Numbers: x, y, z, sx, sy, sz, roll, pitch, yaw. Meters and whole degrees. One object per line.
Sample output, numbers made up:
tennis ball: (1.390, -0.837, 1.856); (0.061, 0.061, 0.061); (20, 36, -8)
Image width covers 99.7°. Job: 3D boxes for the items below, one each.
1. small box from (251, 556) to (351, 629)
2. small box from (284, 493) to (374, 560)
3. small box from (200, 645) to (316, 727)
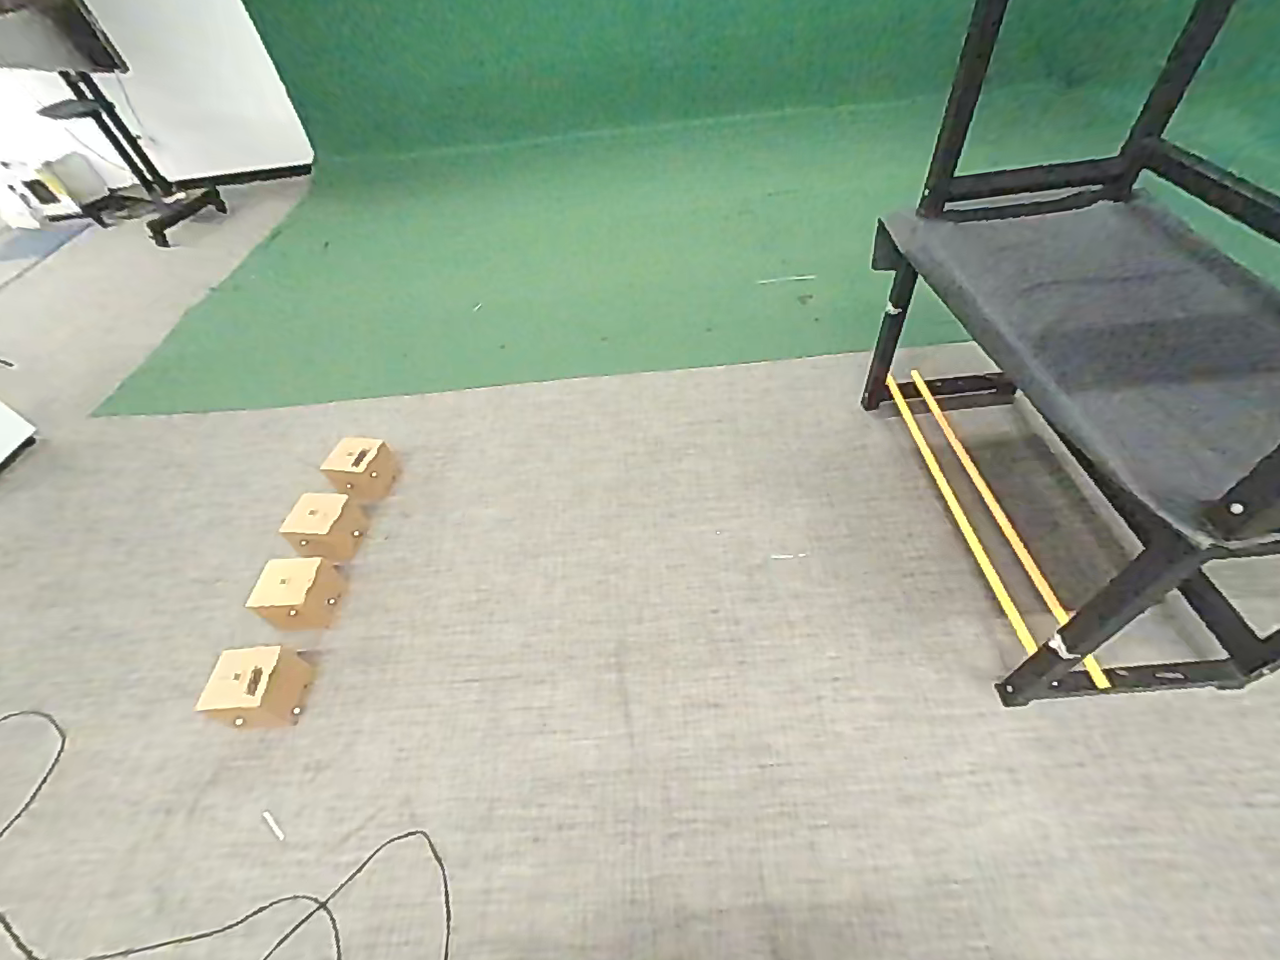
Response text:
small box: (-1.051, 0.356, 1.693); (0.179, 0.176, 0.168); (-4, 49, 3)
small box: (-1.063, 0.163, 1.862); (0.179, 0.176, 0.168); (3, 50, 8)
small box: (-1.044, 0.572, 1.499); (0.179, 0.176, 0.168); (-5, 48, 4)
